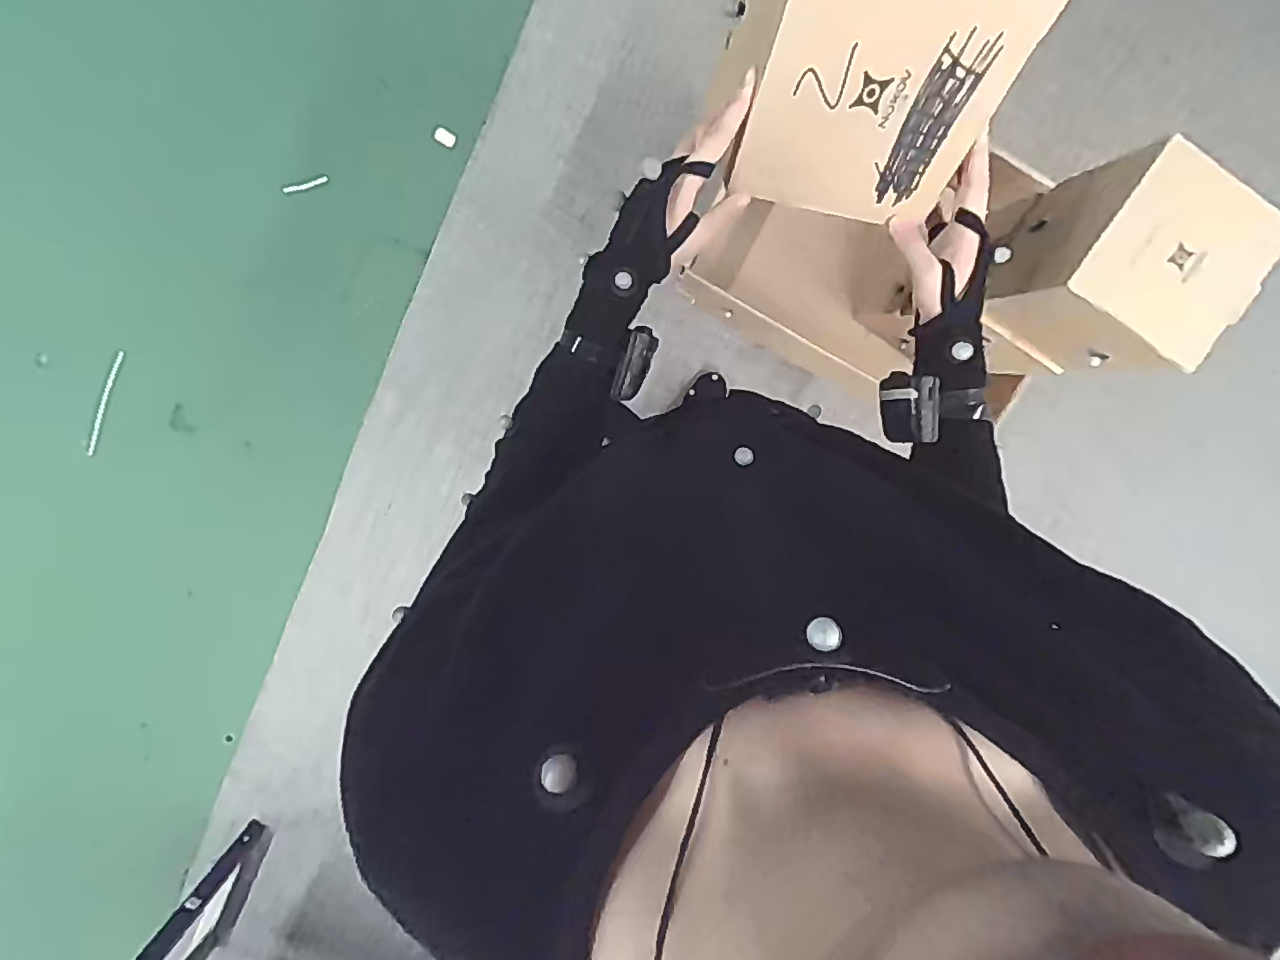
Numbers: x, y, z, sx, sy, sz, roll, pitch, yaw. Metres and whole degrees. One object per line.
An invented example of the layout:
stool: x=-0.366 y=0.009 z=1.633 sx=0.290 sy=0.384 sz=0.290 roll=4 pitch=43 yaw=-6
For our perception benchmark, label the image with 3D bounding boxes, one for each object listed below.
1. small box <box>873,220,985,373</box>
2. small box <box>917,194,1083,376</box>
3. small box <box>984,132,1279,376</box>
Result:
small box: x=0.529 y=-0.300 z=0.925 sx=0.168 sy=0.176 sz=0.179 roll=32 pitch=100 yaw=-6
small box: x=0.538 y=-0.259 z=0.766 sx=0.179 sy=0.176 sz=0.168 roll=31 pitch=100 yaw=-6
small box: x=0.546 y=-0.233 z=0.605 sx=0.179 sy=0.176 sz=0.168 roll=31 pitch=99 yaw=-5
